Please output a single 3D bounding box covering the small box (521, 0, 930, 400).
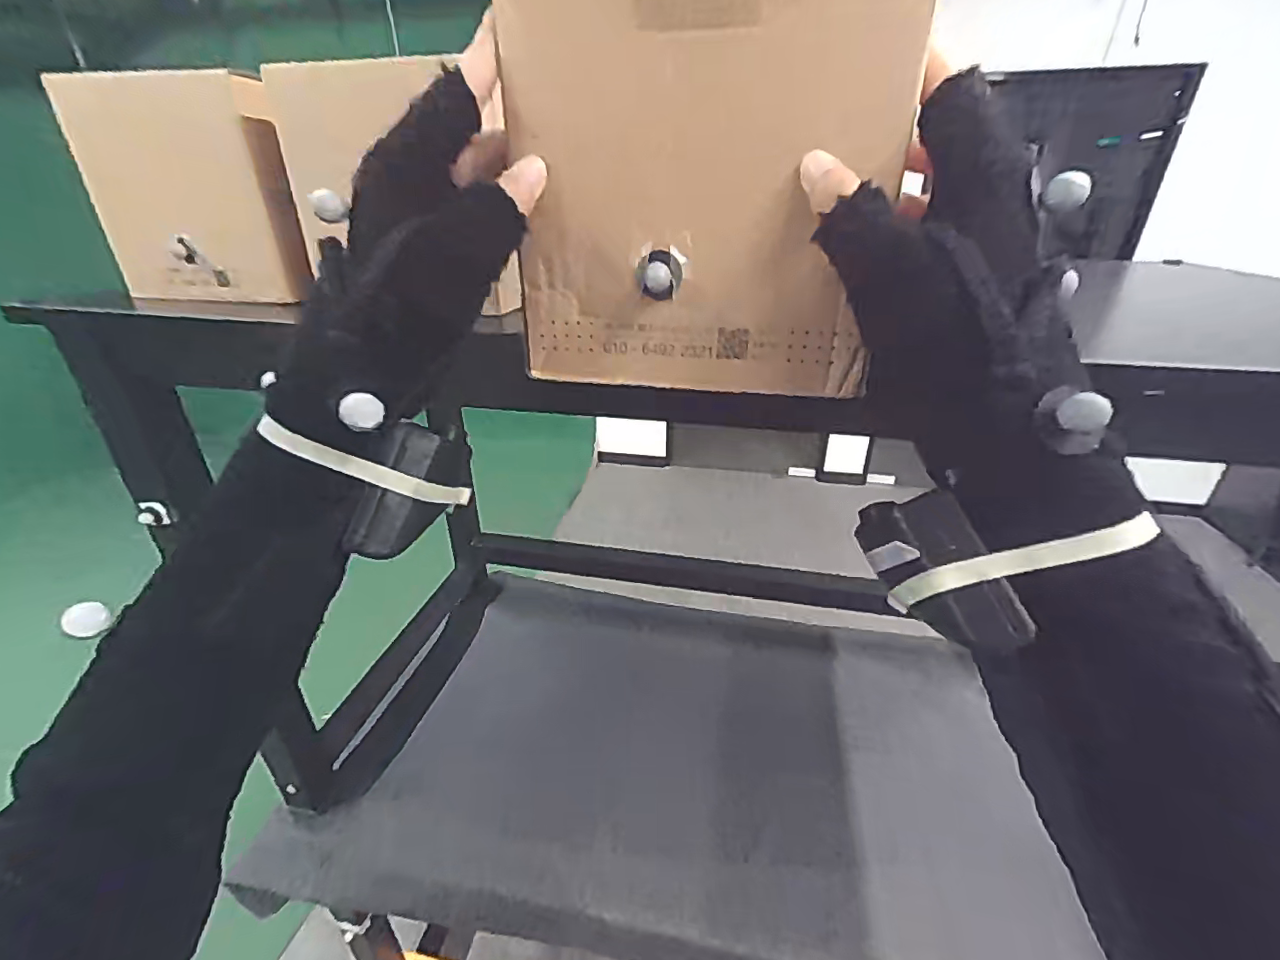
[{"bbox_3d":[0.043,-0.158,0.319,0.168,0.176,0.179,5,29,10],"label":"small box"}]

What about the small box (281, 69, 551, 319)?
[{"bbox_3d":[-0.166,-0.245,0.487,0.168,0.176,0.179,6,27,11],"label":"small box"}]
